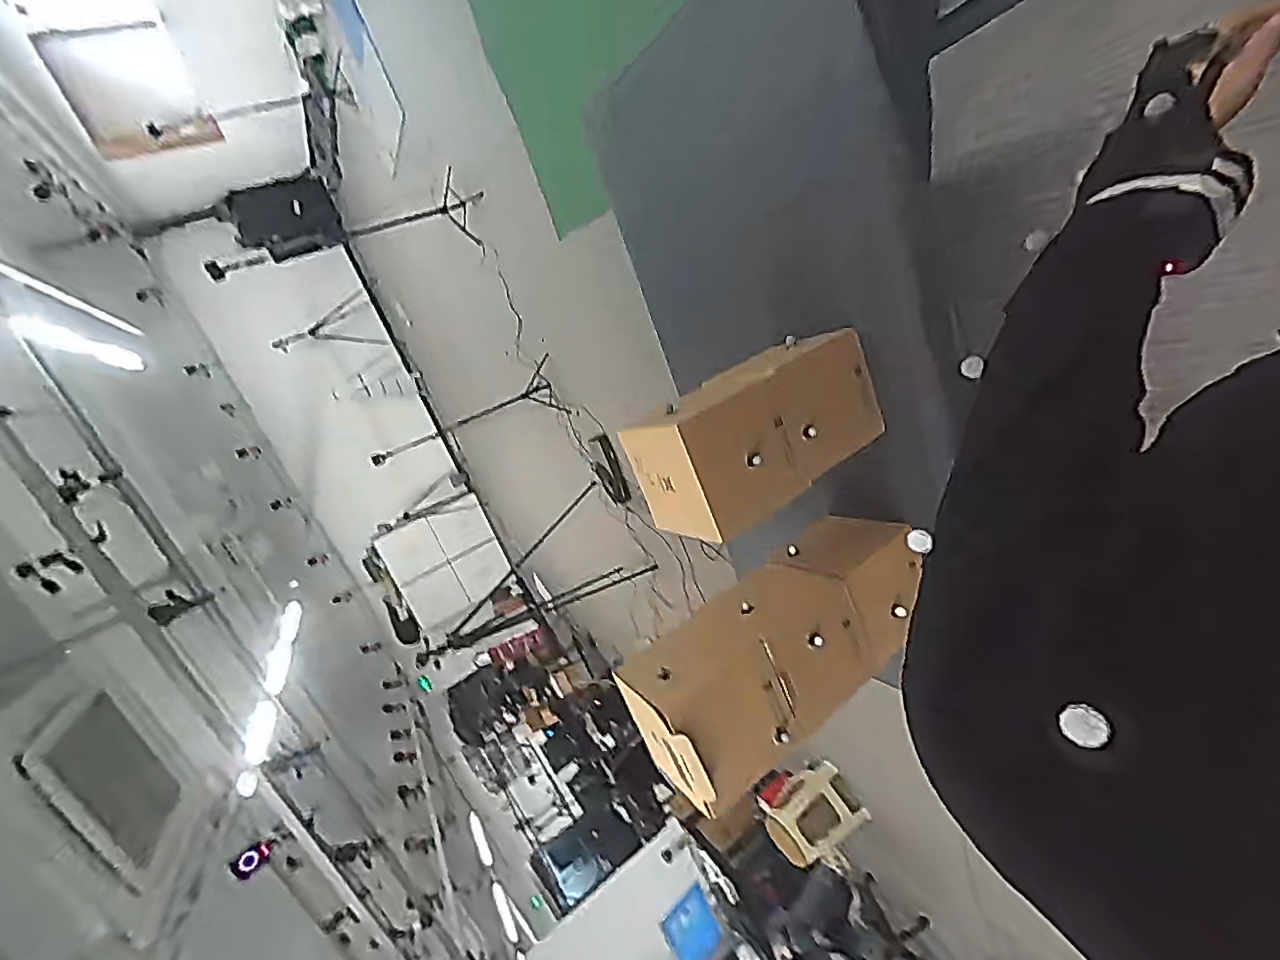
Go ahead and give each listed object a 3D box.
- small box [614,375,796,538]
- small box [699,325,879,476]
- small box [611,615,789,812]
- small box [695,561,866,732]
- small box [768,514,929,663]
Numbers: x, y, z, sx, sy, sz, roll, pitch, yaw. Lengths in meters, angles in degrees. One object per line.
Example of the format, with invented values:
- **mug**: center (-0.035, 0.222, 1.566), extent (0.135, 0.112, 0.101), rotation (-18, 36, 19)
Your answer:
- **small box**: center (0.096, -0.038, 0.763), extent (0.179, 0.176, 0.168), rotation (5, 121, 62)
- **small box**: center (0.225, -0.120, 0.829), extent (0.179, 0.176, 0.168), rotation (6, 123, 63)
- **small box**: center (0.090, 0.318, 0.780), extent (0.179, 0.176, 0.168), rotation (-2, 114, 65)
- **small box**: center (0.223, 0.244, 0.843), extent (0.179, 0.176, 0.168), rotation (1, 117, 65)
- **small box**: center (0.354, 0.170, 0.909), extent (0.179, 0.176, 0.168), rotation (3, 119, 63)
